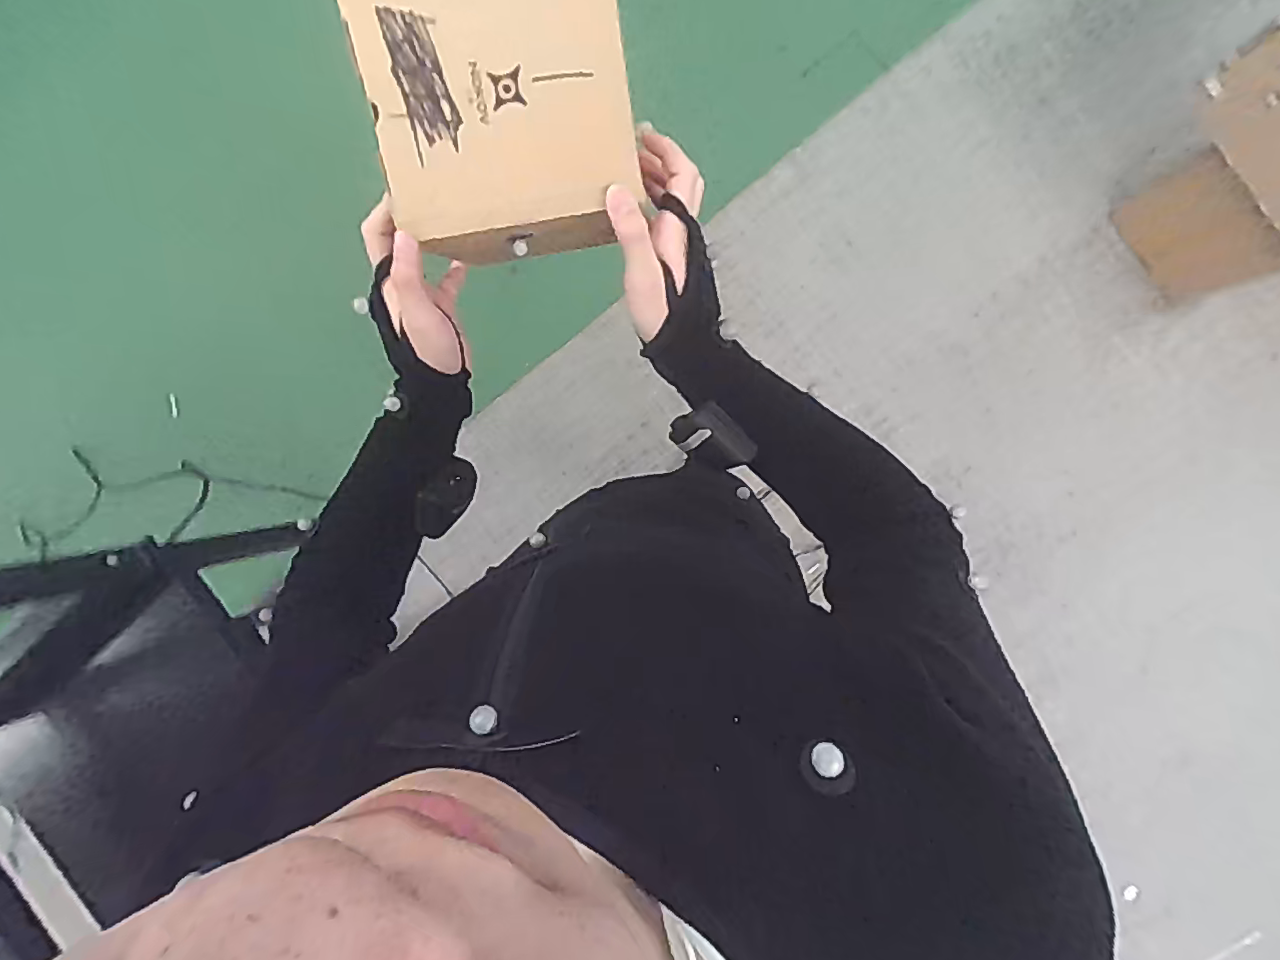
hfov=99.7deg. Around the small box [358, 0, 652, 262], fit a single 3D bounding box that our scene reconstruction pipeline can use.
[{"bbox_3d":[-0.085,-0.279,0.433,0.179,0.176,0.168,-7,106,3],"label":"small box"}]
